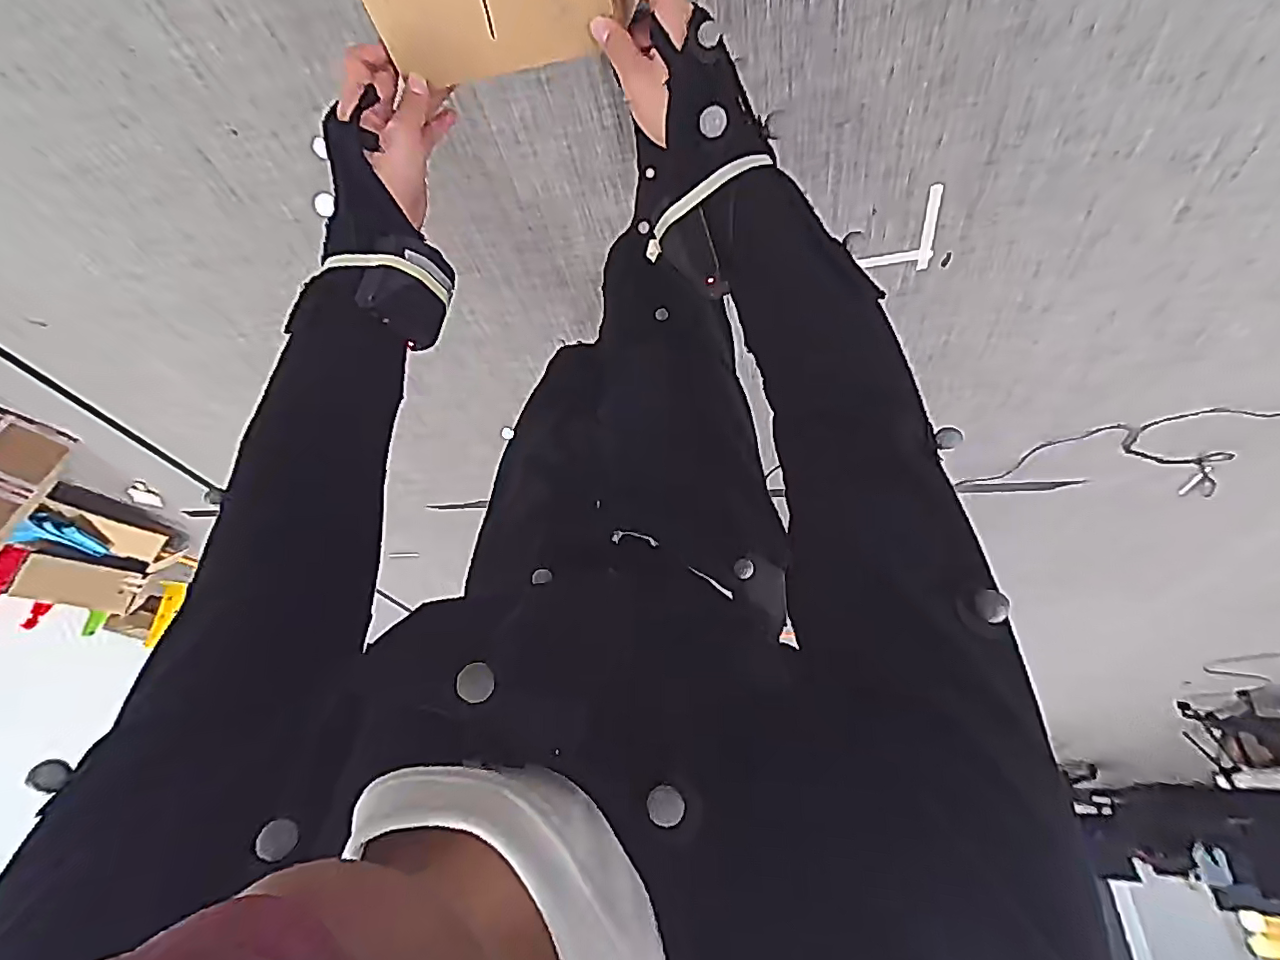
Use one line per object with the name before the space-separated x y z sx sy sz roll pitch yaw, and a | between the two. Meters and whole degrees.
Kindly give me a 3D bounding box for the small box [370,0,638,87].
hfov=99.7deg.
small box | -0.096 -0.405 0.357 0.168 0.176 0.179 -1 145 14
